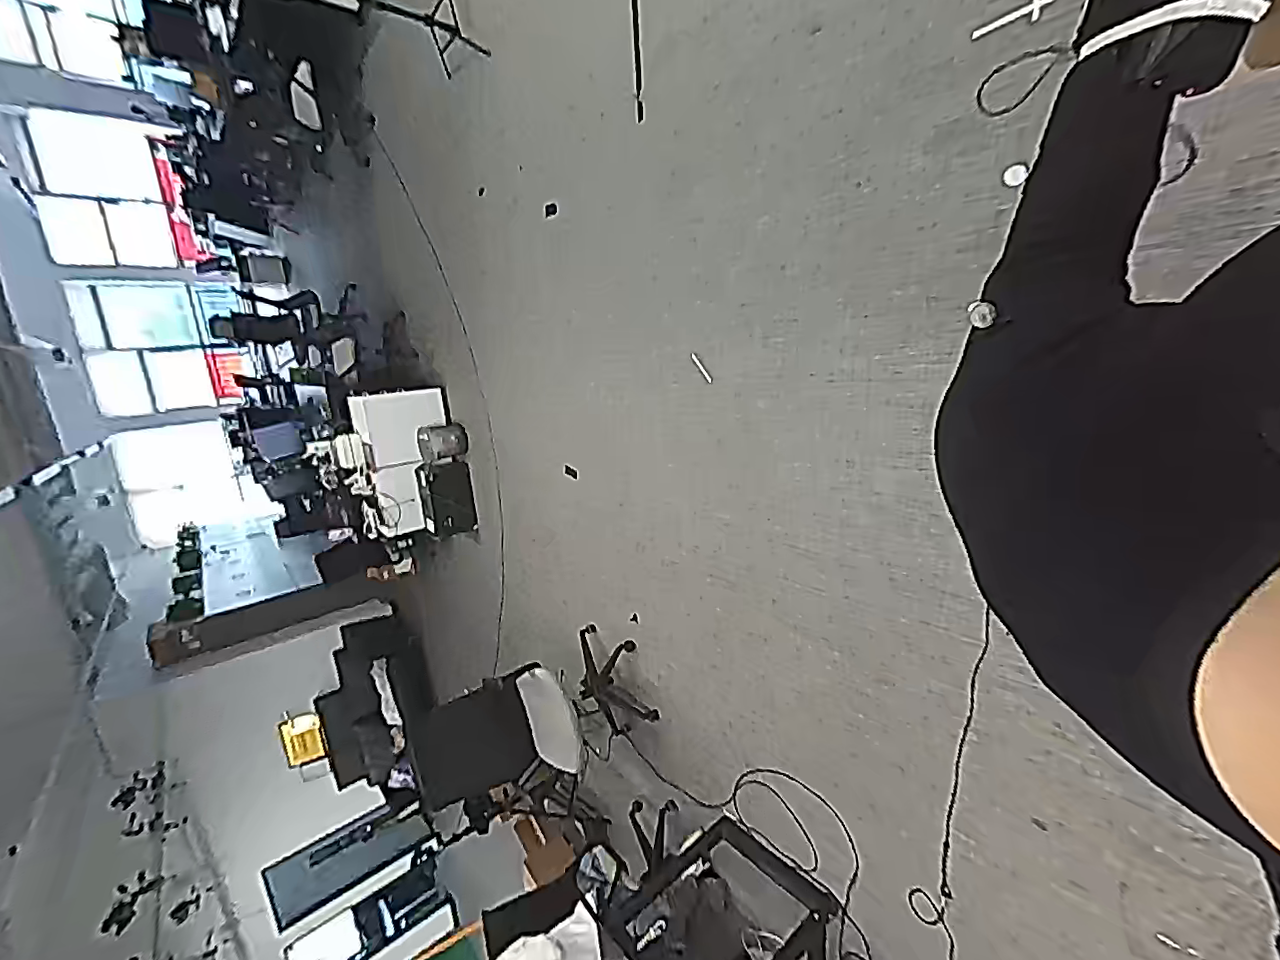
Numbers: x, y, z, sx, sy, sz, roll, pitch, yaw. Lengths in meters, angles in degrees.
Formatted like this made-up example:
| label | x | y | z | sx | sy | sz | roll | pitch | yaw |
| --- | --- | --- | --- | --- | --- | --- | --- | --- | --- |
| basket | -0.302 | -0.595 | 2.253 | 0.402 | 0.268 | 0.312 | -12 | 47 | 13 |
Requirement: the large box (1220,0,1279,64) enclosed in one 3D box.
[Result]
| label | x | y | z | sx | sy | sz | roll | pitch | yaw |
| --- | --- | --- | --- | --- | --- | --- | --- | --- | --- |
| large box | 0.599 | -0.464 | 0.249 | 0.408 | 0.320 | 0.320 | 18 | 122 | 46 |
